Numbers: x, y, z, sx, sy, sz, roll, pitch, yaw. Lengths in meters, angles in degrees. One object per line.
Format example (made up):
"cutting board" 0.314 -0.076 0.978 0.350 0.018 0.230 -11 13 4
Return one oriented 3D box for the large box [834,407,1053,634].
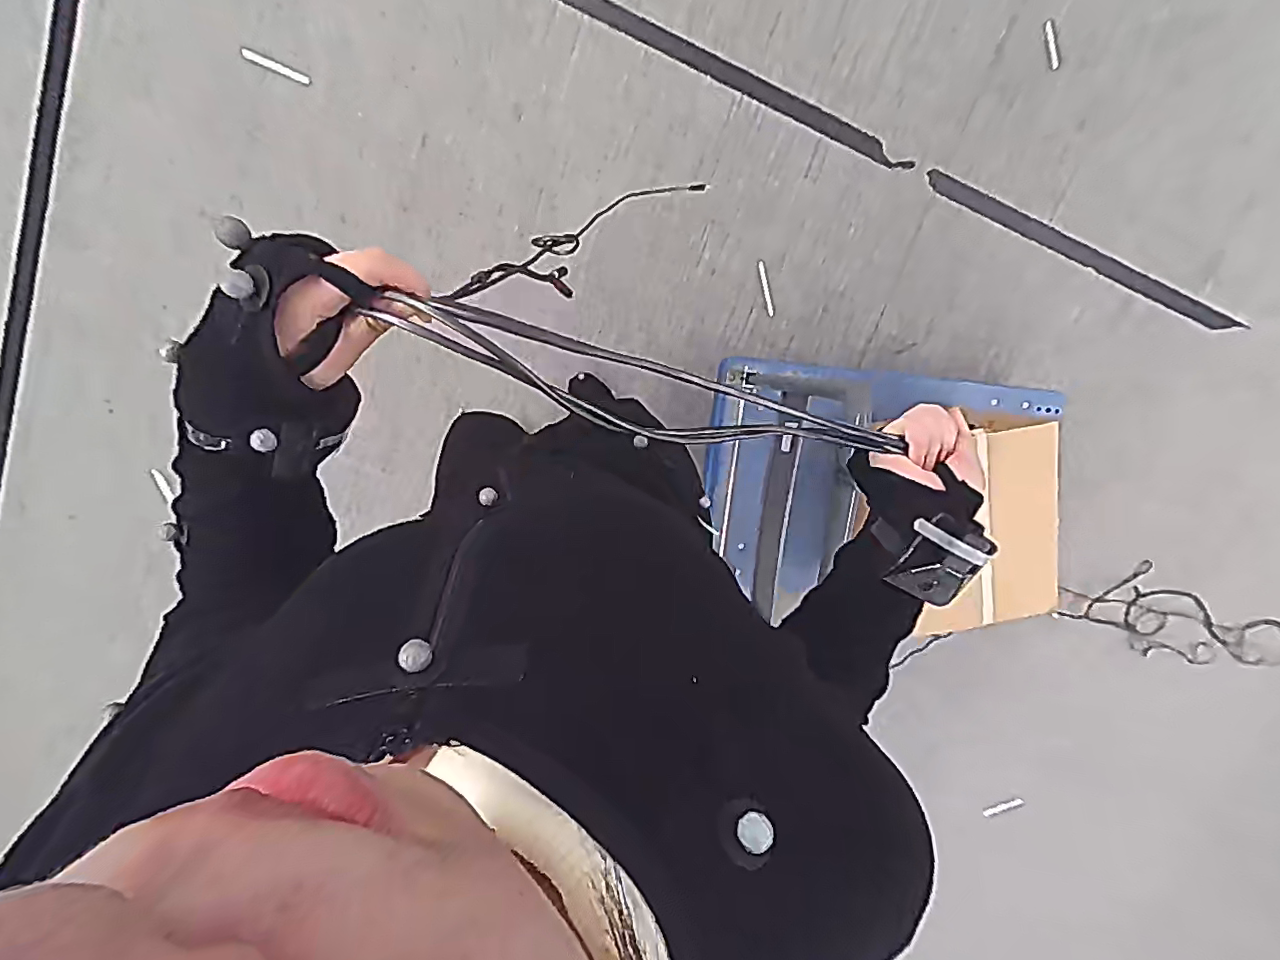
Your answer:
"large box" 0.663 0.069 1.220 0.320 0.320 0.408 -10 103 -1
